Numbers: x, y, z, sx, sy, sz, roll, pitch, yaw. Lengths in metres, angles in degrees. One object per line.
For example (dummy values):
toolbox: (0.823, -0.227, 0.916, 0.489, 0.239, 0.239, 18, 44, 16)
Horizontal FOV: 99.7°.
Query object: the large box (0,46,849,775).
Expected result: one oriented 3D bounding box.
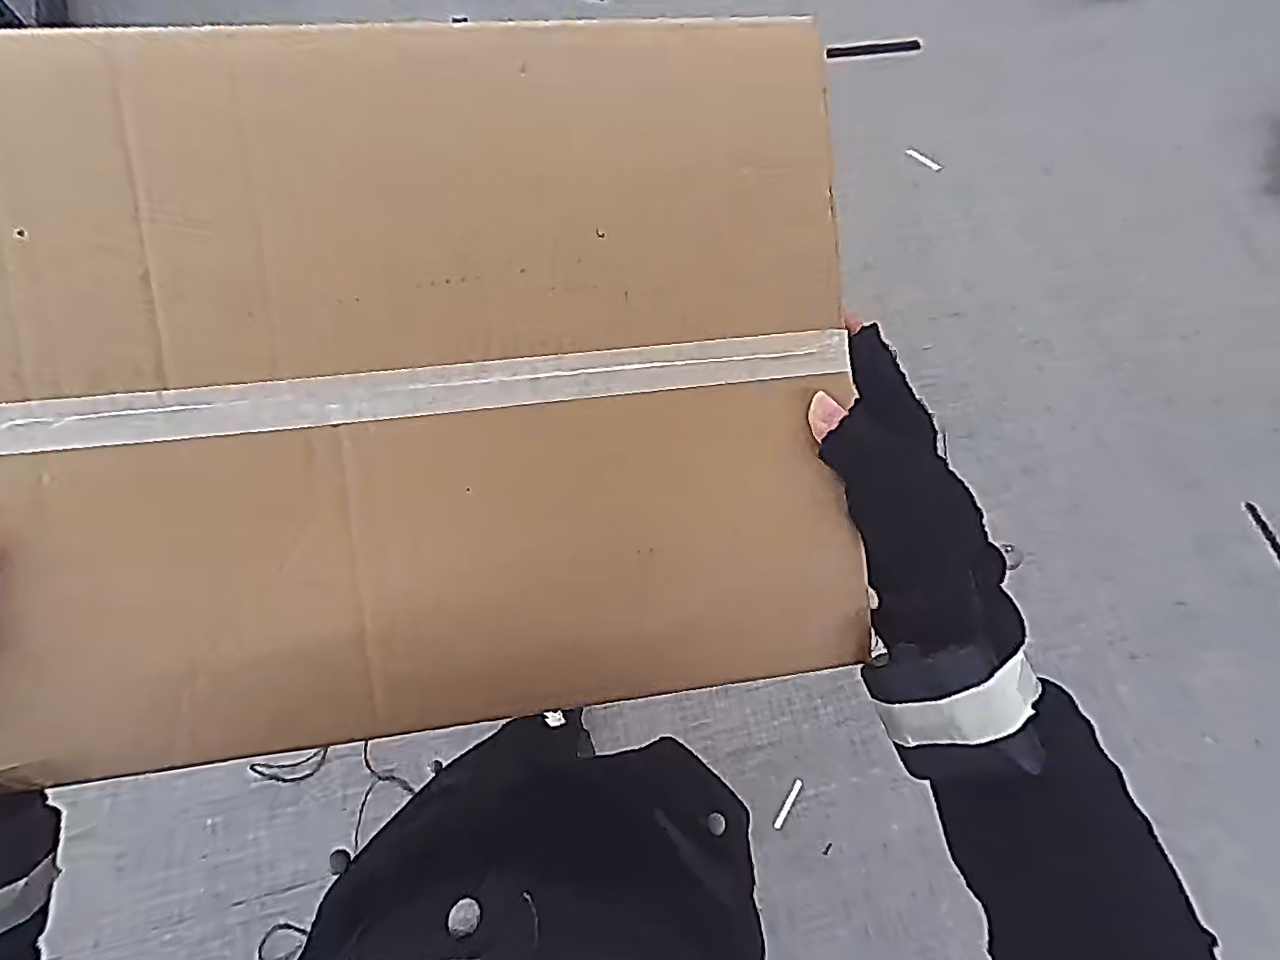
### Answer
large box: (-0.114, -0.049, 0.403, 0.408, 0.320, 0.320, -6, 93, -6)
